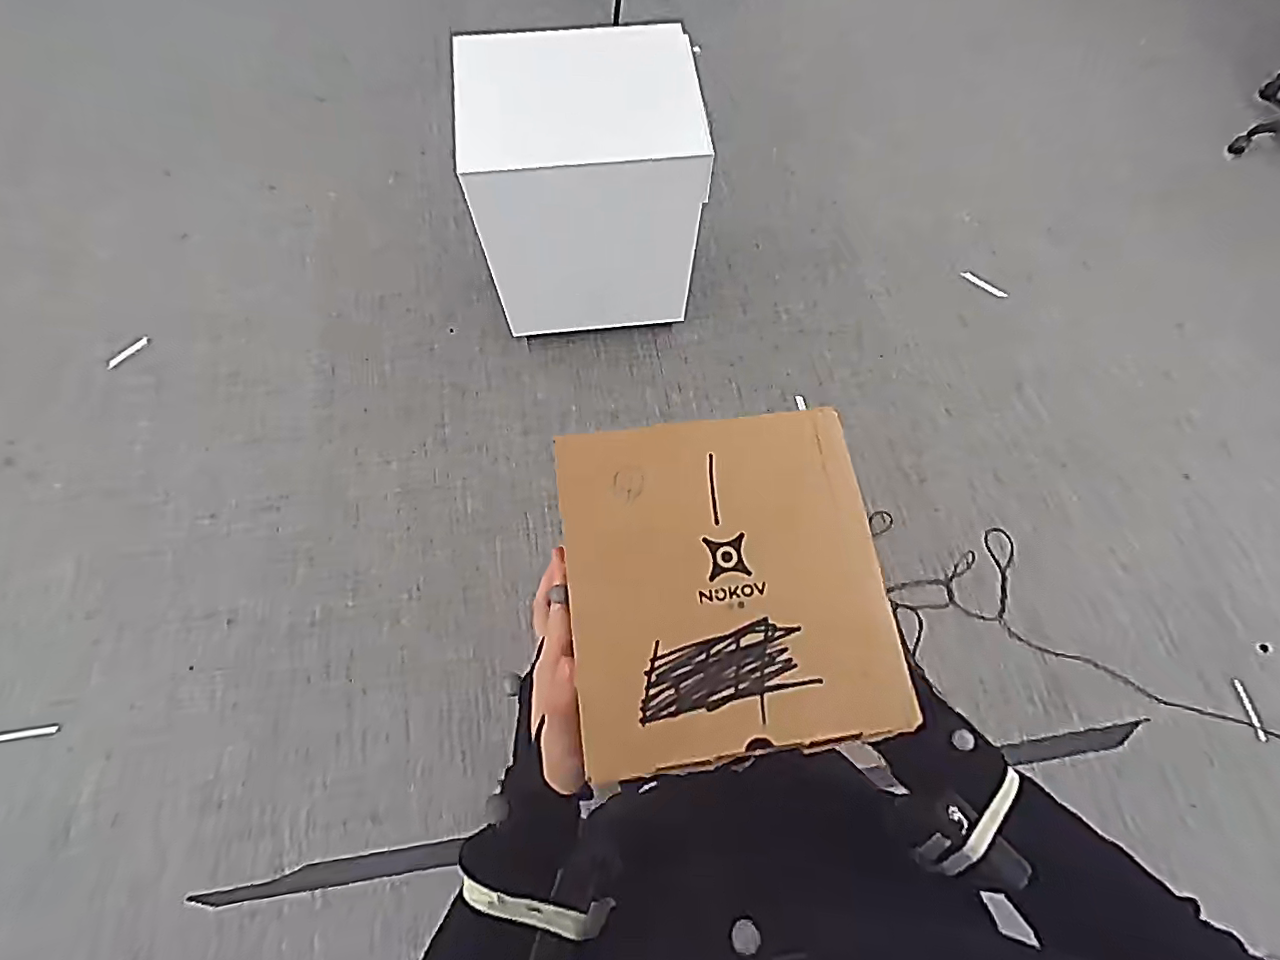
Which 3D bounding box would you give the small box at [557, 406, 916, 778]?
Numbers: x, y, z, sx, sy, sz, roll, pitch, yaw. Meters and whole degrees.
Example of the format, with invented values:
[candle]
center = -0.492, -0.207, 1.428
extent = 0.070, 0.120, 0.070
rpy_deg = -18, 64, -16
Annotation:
[small box]
center = 0.040, 0.071, 0.357
extent = 0.168, 0.176, 0.179
rpy_deg = -7, 73, -7
